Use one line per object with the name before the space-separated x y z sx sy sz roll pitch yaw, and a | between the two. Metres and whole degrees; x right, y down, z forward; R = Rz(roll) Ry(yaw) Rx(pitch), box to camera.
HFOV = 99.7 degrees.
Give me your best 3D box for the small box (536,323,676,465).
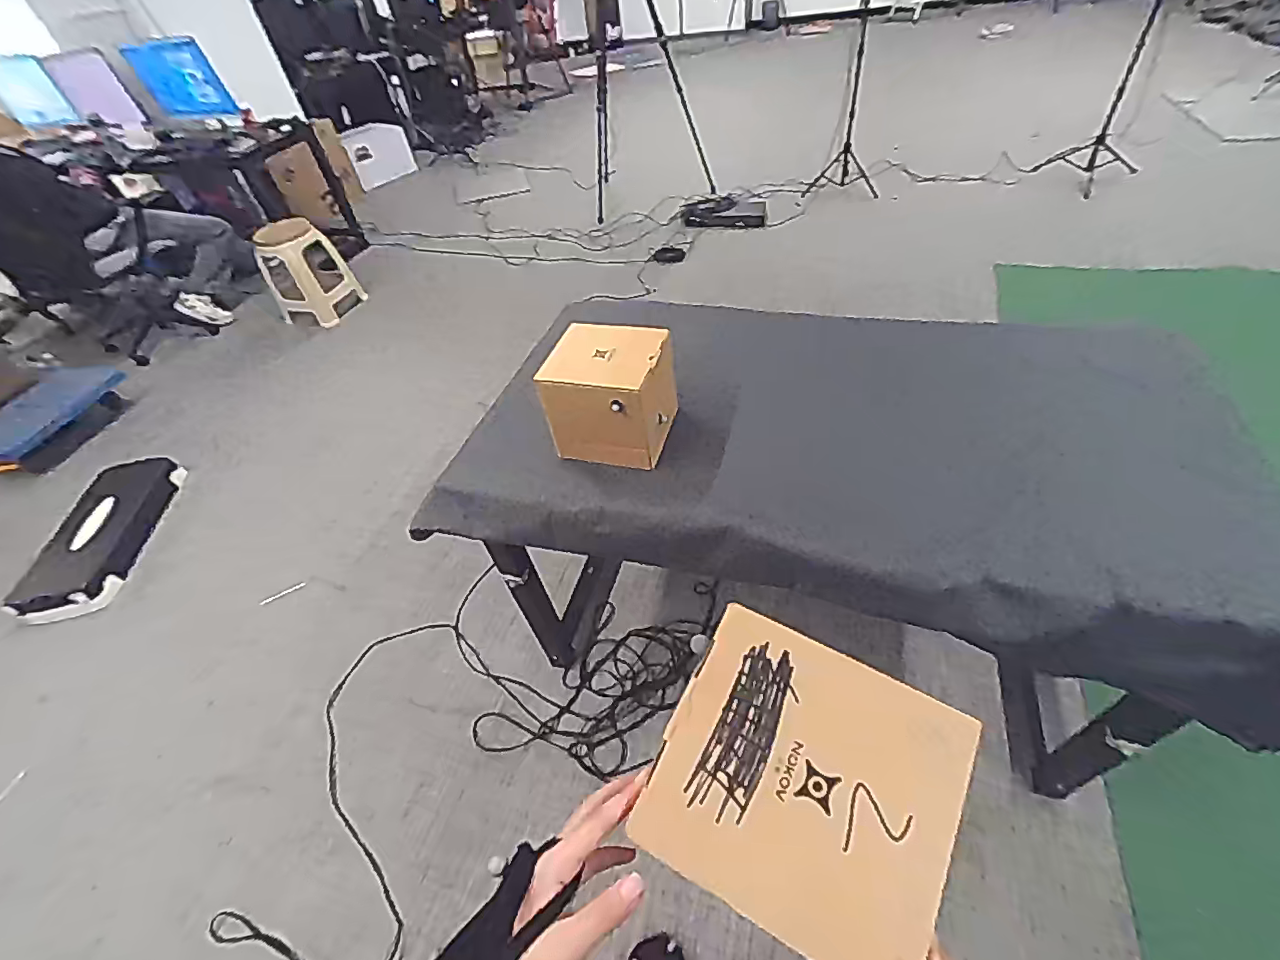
small box | -0.046 -0.144 0.905 0.179 0.176 0.168 9 48 16
